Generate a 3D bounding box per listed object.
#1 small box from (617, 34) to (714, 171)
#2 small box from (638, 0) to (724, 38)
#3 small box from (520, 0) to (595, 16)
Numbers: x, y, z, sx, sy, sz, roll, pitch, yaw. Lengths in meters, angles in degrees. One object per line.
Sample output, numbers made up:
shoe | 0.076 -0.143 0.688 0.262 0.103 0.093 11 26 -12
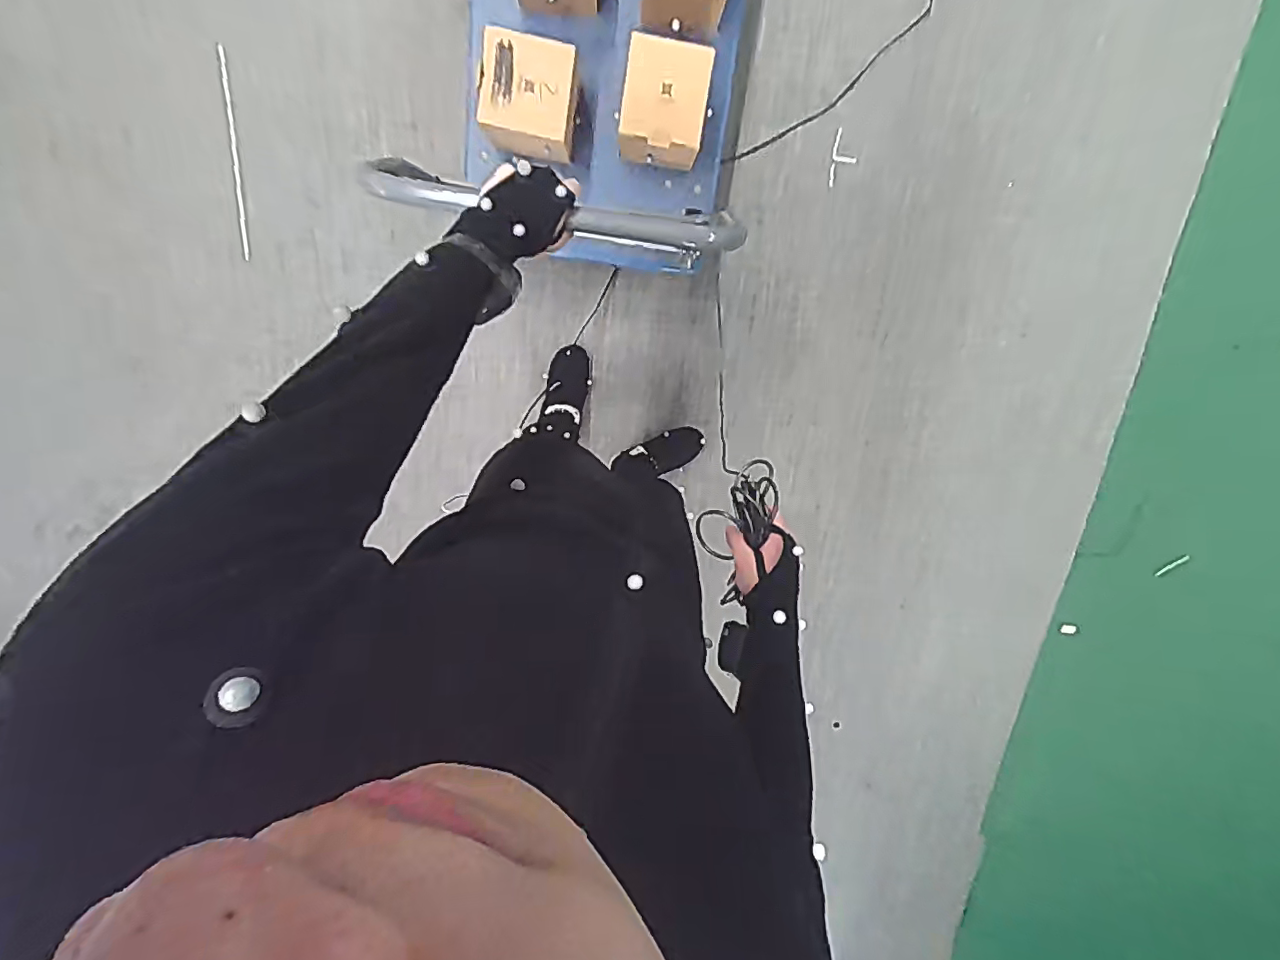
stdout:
small box | 0.045 -0.776 1.129 0.168 0.176 0.179 8 107 -5
small box | 0.086 -1.015 1.055 0.168 0.176 0.179 6 108 -3
small box | -0.168 -1.039 1.037 0.168 0.176 0.179 3 107 -4
